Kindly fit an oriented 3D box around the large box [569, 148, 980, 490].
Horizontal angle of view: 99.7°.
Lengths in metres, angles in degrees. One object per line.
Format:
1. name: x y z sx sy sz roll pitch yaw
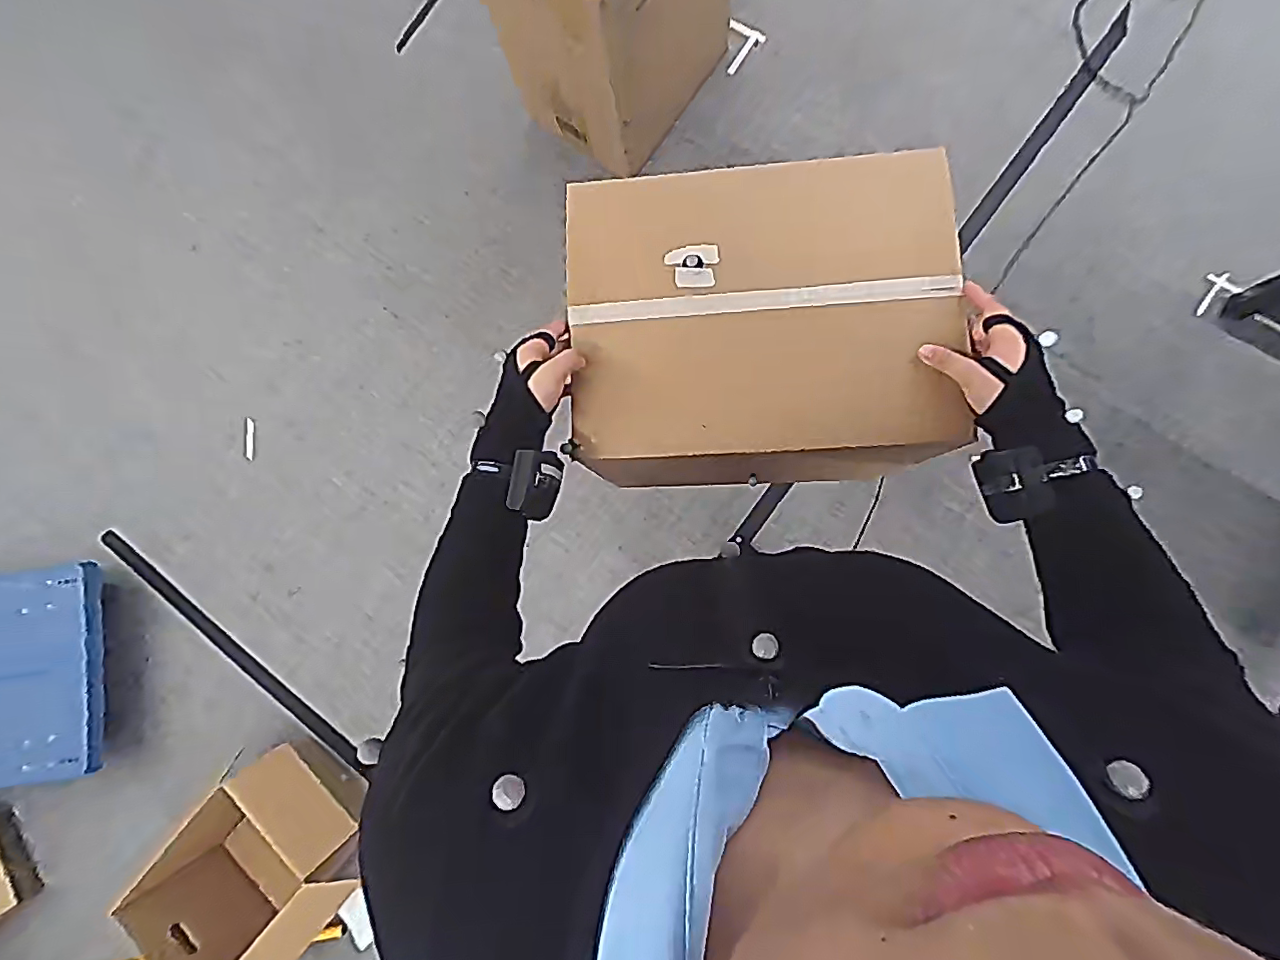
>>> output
1. large box: 0.144 -0.162 0.706 0.408 0.320 0.320 -3 82 7
